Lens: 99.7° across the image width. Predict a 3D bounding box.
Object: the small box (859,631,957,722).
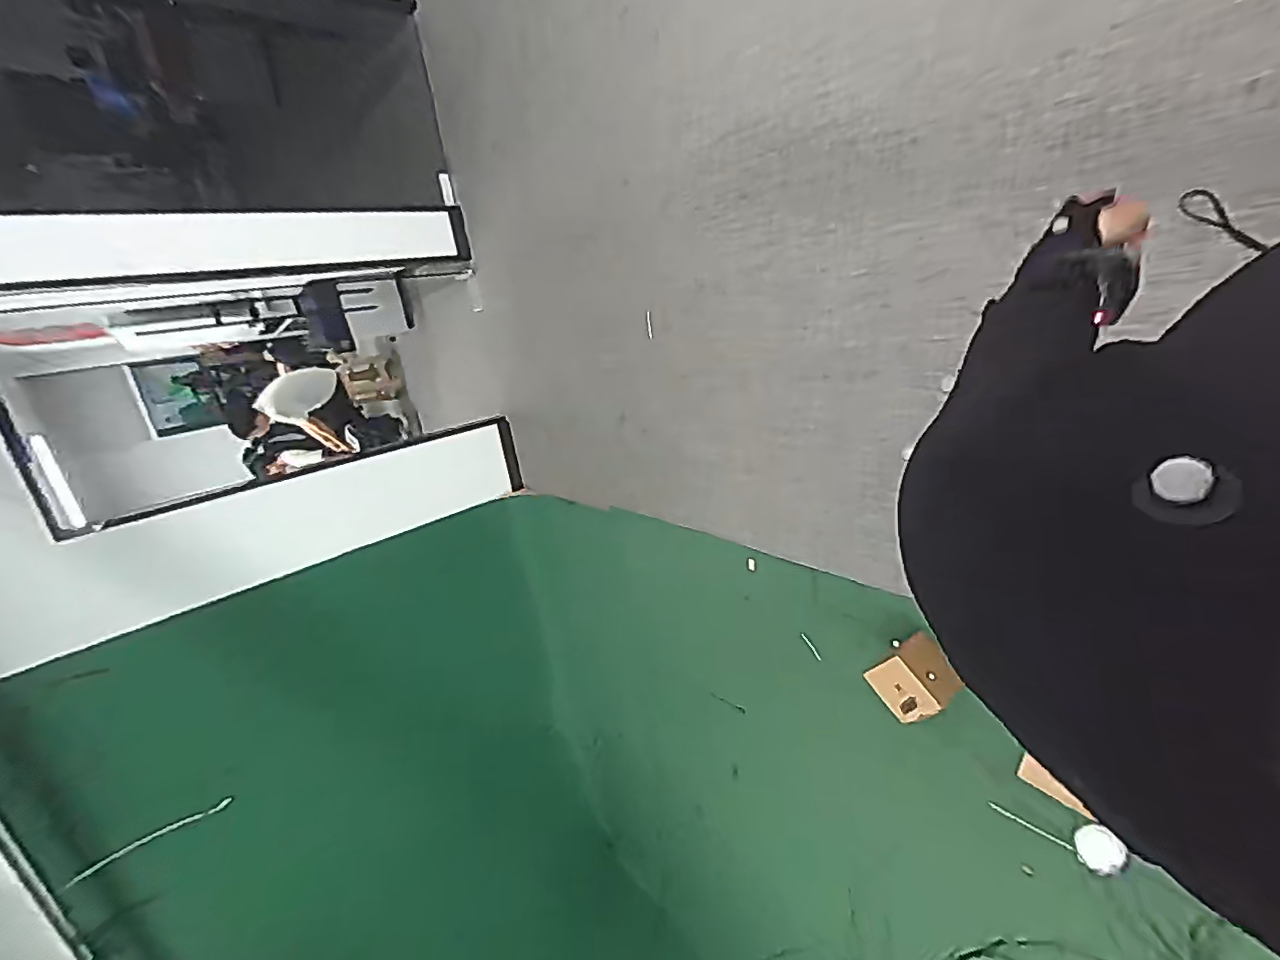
[{"bbox_3d":[0.818,0.594,1.644,0.179,0.176,0.168,53,141,21],"label":"small box"}]
